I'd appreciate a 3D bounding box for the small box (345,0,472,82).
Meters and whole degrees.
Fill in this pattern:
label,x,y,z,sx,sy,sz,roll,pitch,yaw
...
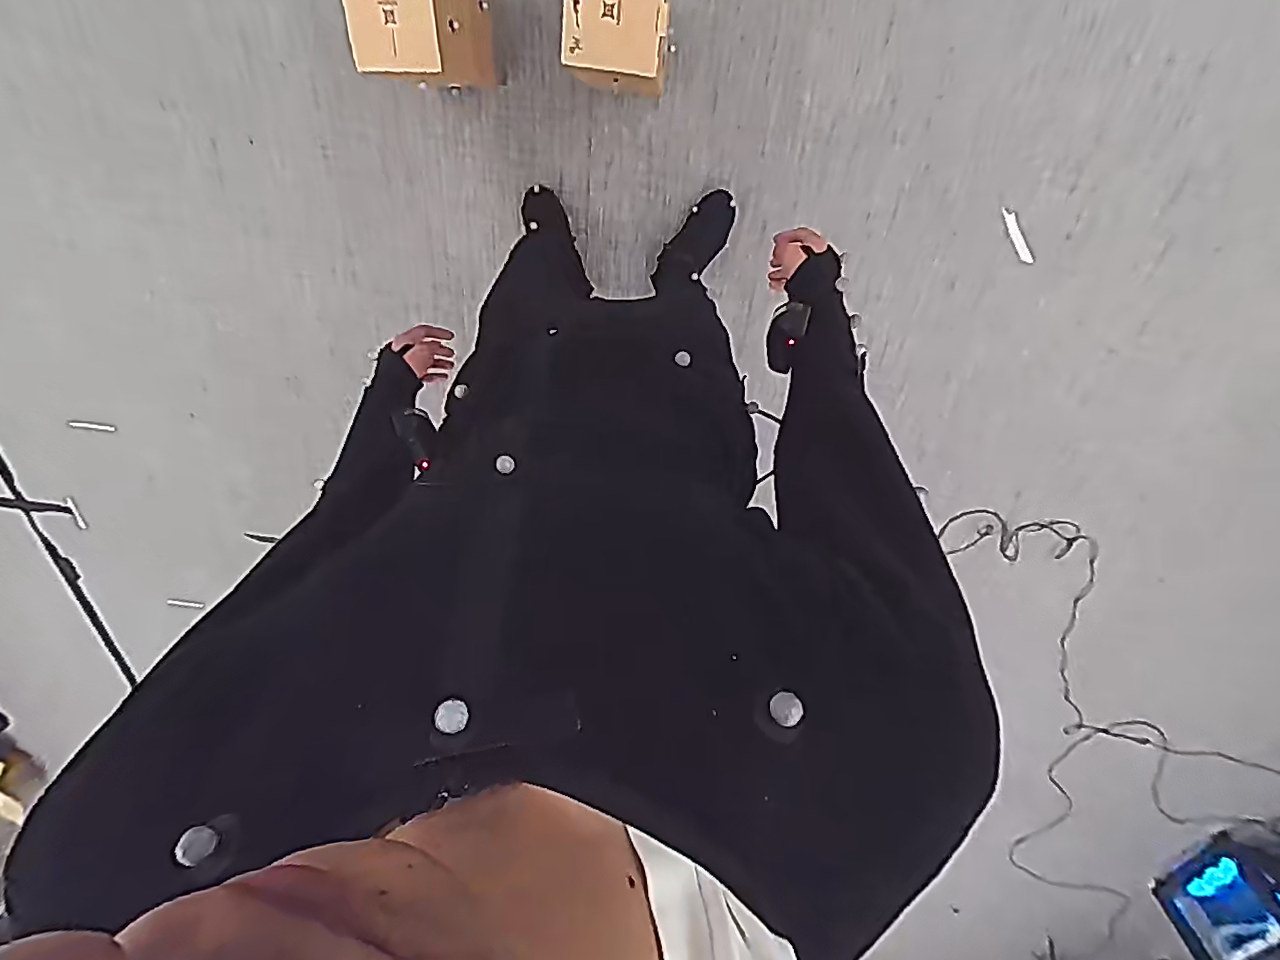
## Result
label,x,y,z,sx,sy,sz,roll,pitch,yaw
small box,-0.428,-0.864,1.011,0.168,0.176,0.179,4,122,3

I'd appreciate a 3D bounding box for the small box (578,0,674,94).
label,x,y,z,sx,sy,sz,roll,pitch,yaw
small box,-0.028,-0.925,1.133,0.179,0.176,0.168,8,122,-1

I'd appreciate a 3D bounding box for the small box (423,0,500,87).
label,x,y,z,sx,sy,sz,roll,pitch,yaw
small box,-0.408,-0.952,1.148,0.168,0.176,0.179,2,121,4

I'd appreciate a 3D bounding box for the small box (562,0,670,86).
label,x,y,z,sx,sy,sz,roll,pitch,yaw
small box,-0.039,-0.841,0.993,0.179,0.176,0.168,9,121,-2
